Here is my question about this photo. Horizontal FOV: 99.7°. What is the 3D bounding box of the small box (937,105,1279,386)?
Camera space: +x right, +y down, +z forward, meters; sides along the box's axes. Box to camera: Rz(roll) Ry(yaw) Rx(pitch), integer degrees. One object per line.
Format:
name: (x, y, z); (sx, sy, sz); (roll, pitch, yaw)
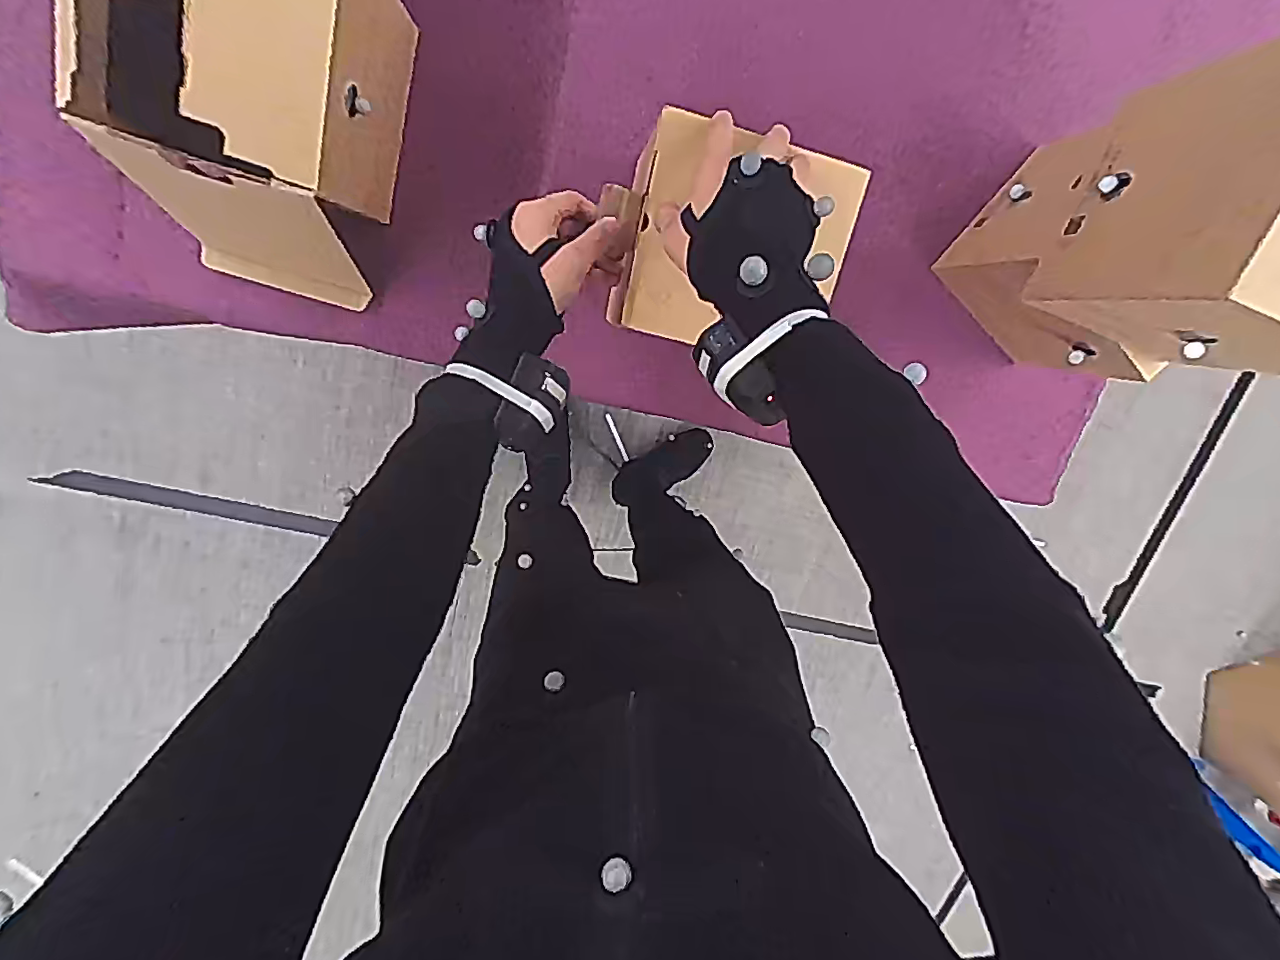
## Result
small box: (0.458, -0.225, 0.553); (0.179, 0.176, 0.168); (38, 100, -16)

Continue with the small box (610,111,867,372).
small box: (0.073, -0.211, 0.517); (0.179, 0.176, 0.168); (11, 107, -10)
